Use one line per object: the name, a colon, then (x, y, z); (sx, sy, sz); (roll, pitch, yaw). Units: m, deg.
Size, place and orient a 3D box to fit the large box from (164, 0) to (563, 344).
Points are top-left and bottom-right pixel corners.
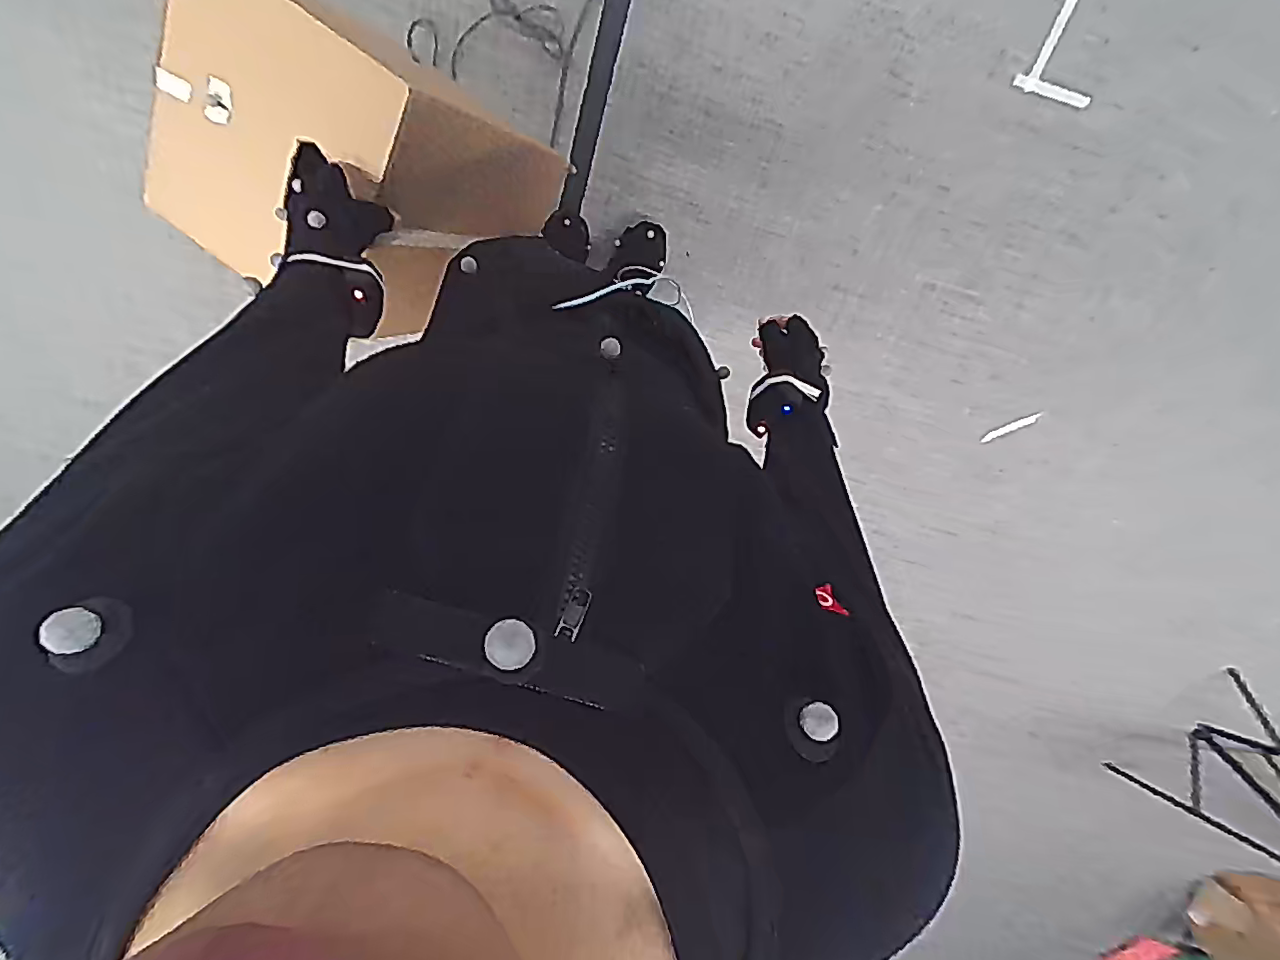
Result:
large box: (-0.384, -0.445, 0.812); (0.320, 0.408, 0.320); (36, 117, 2)
